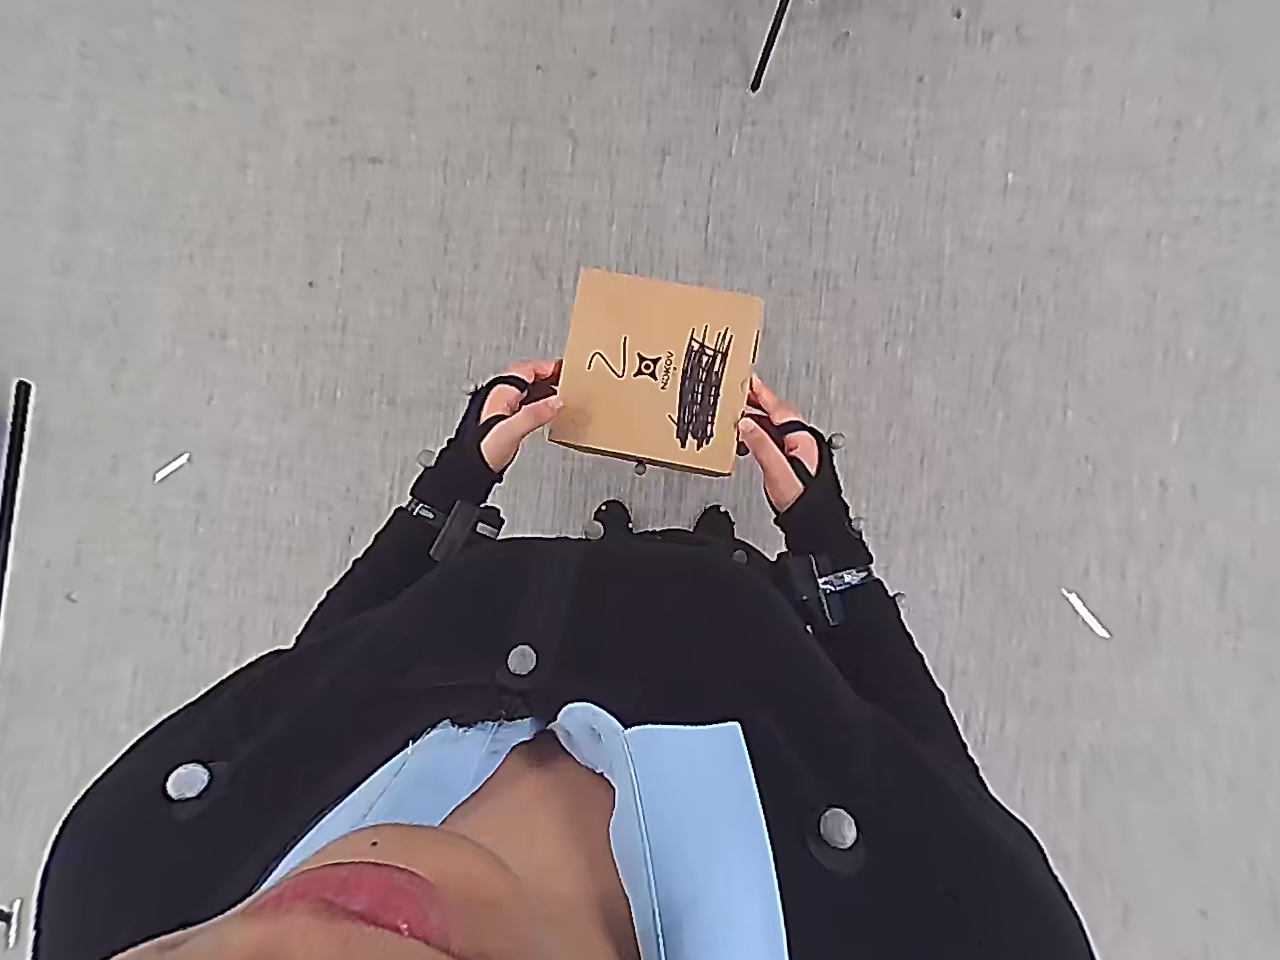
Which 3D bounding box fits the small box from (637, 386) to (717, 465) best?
[{"bbox_3d":[0.086,-0.123,1.261,0.179,0.176,0.168,0,89,5],"label":"small box"}]
